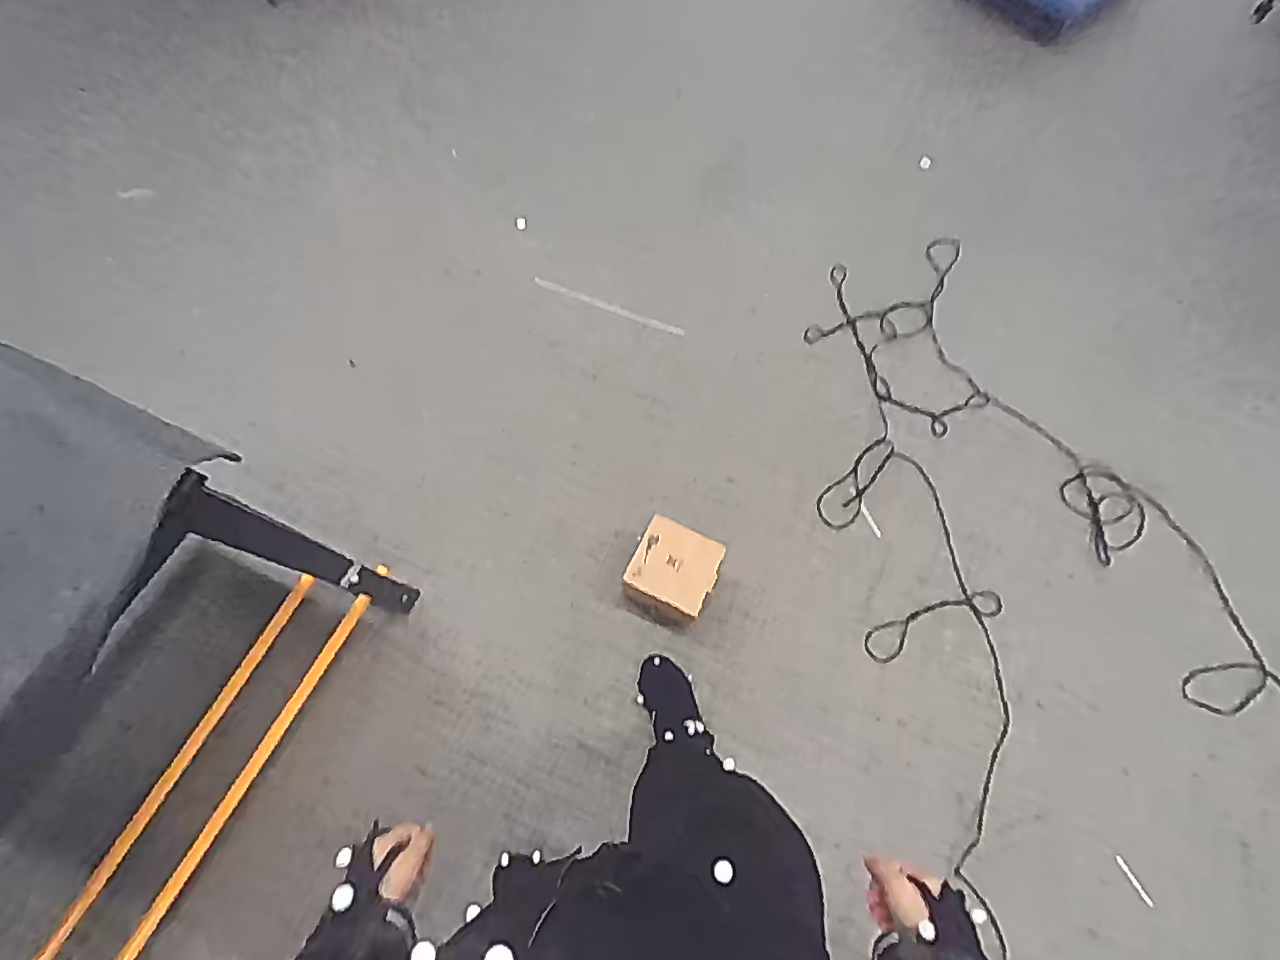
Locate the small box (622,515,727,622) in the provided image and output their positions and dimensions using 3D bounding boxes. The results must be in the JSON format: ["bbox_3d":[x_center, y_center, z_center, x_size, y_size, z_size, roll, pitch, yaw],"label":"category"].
[{"bbox_3d":[0.072,0.206,1.214,0.179,0.176,0.168,26,70,8],"label":"small box"}]
